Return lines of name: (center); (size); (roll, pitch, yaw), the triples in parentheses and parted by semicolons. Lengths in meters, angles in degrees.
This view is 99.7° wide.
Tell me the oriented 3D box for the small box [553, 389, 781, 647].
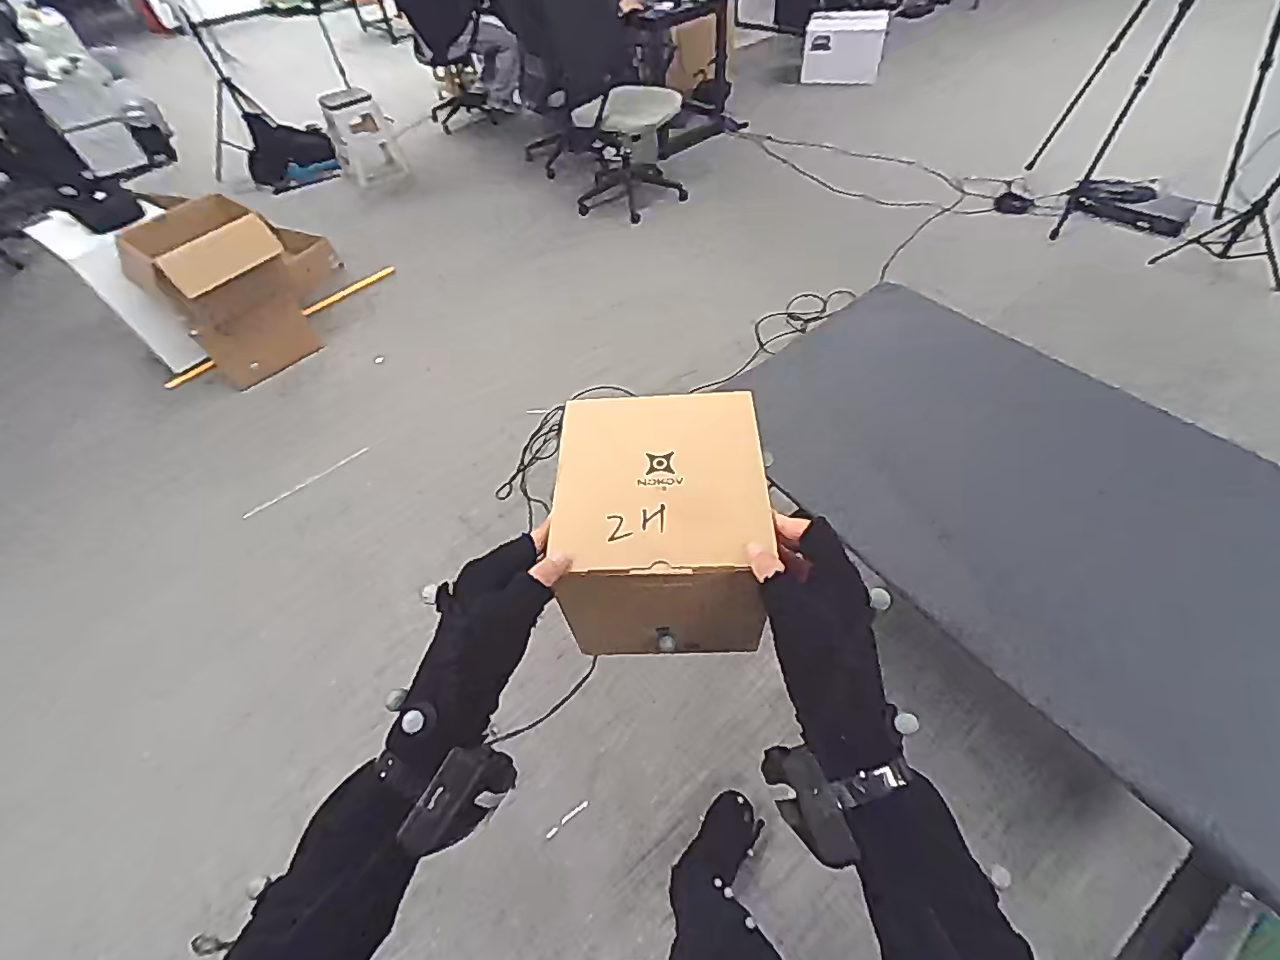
small box: (0.025, 0.038, 0.496); (0.168, 0.176, 0.179); (-2, 54, 4)
